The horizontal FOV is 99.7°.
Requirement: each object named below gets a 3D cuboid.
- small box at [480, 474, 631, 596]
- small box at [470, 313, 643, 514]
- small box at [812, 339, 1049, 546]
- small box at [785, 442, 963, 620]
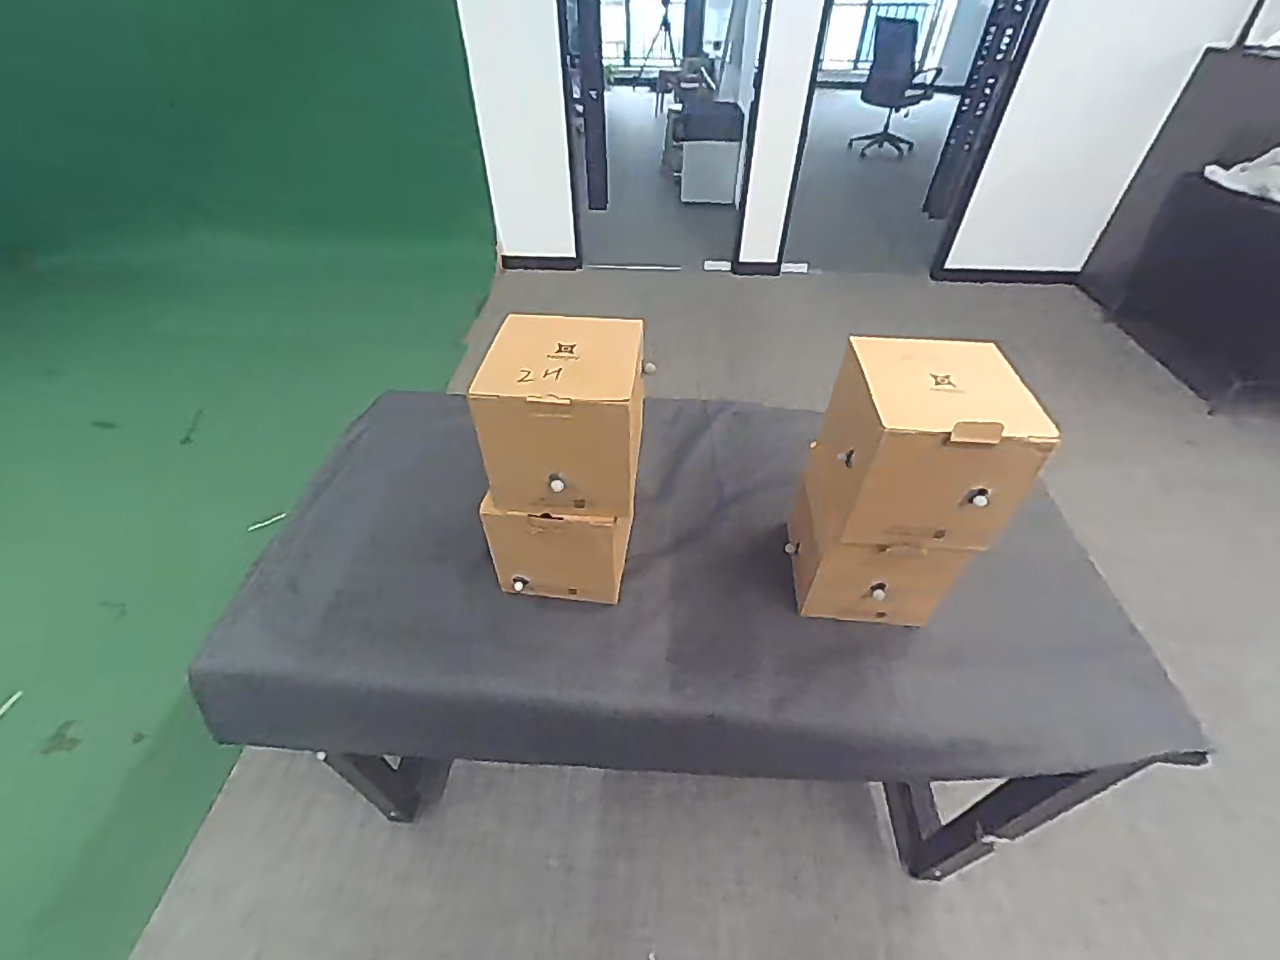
[{"bbox_3d":[-0.104,0.042,0.762,0.168,0.176,0.179,6,43,5],"label":"small box"},{"bbox_3d":[-0.086,-0.082,0.654,0.168,0.176,0.179,3,43,3],"label":"small box"},{"bbox_3d":[0.308,-0.042,0.622,0.168,0.176,0.179,4,43,3],"label":"small box"},{"bbox_3d":[0.301,0.071,0.739,0.168,0.176,0.179,5,44,4],"label":"small box"}]
